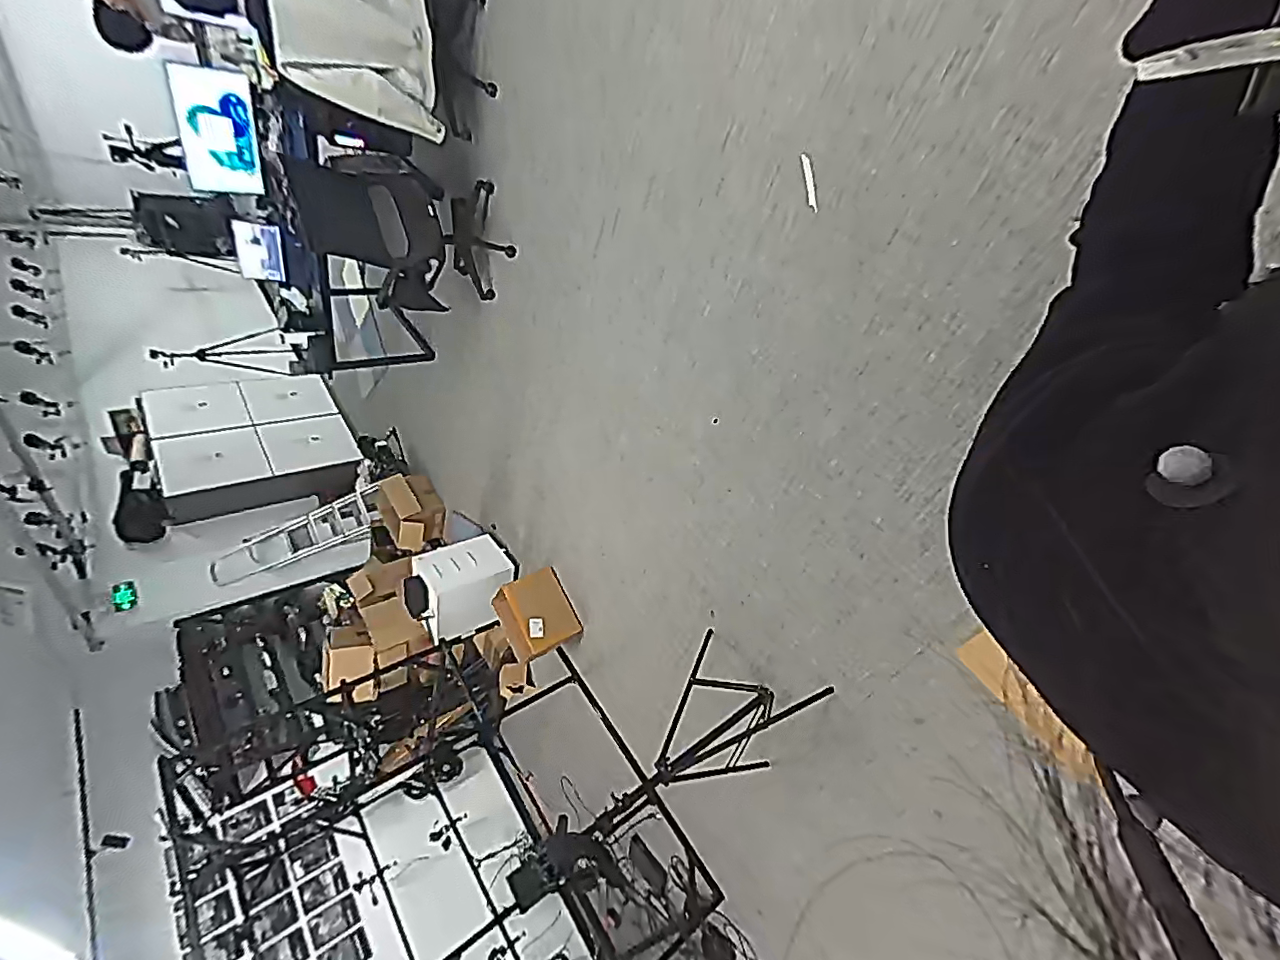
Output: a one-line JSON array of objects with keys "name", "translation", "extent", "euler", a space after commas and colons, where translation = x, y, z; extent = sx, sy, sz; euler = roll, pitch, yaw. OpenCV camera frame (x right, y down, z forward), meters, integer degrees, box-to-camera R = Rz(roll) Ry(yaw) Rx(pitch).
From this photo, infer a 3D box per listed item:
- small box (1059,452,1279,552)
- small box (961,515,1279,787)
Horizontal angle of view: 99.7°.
[{"name": "small box", "translation": [0.730, 0.084, 0.739], "extent": [0.168, 0.176, 0.179], "euler": [52, 137, 26]}, {"name": "small box", "translation": [0.481, 0.162, 0.545], "extent": [0.168, 0.176, 0.179], "euler": [50, 139, 28]}]
